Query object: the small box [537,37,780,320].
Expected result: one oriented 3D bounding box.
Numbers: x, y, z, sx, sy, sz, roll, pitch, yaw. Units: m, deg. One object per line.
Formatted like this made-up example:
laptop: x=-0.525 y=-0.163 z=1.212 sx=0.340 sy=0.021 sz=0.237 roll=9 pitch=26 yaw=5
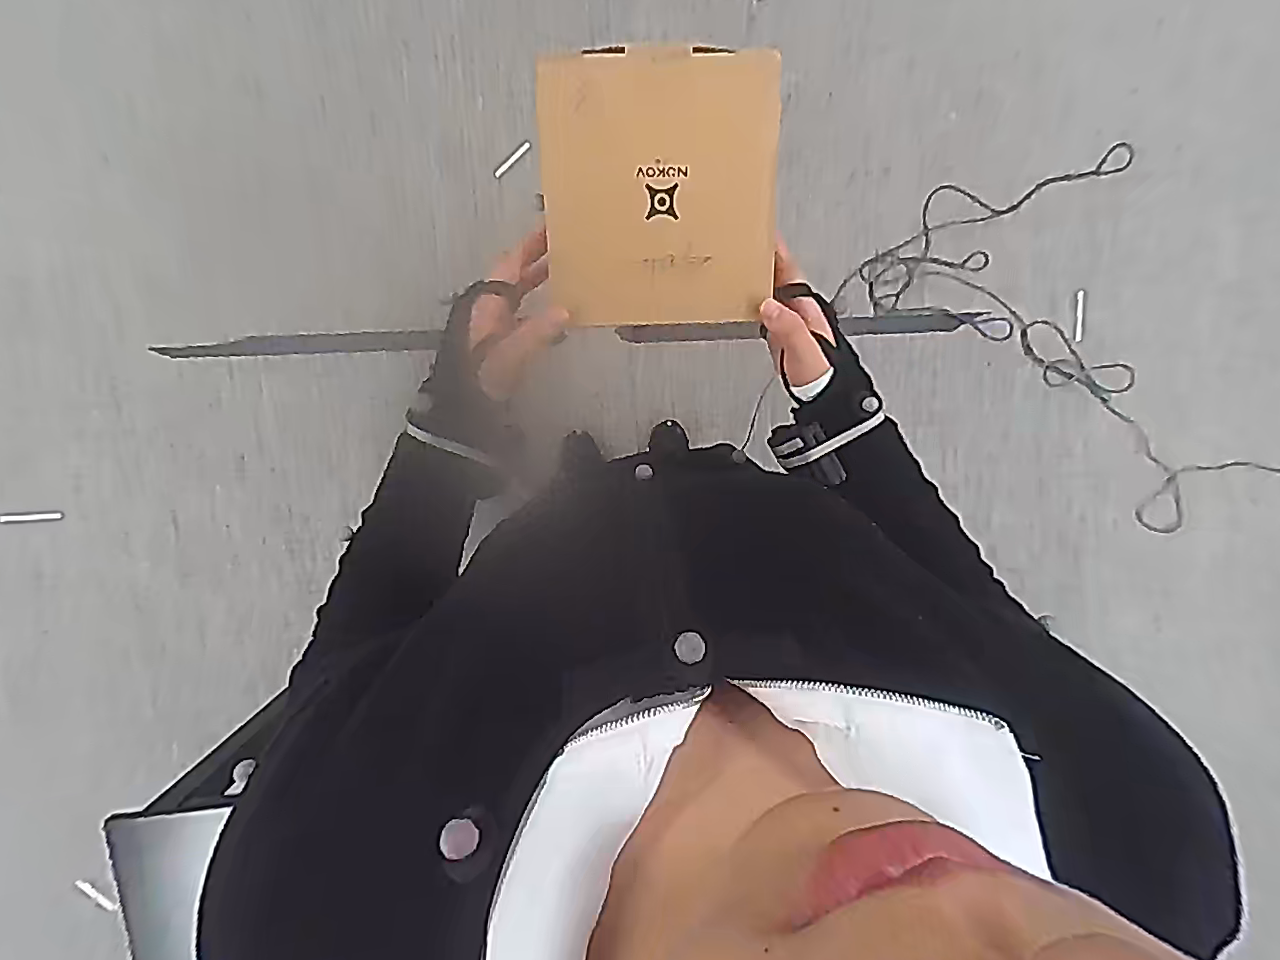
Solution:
small box: x=0.009 y=-0.228 z=0.454 sx=0.168 sy=0.176 sz=0.179 roll=-2 pitch=107 yaw=-3
